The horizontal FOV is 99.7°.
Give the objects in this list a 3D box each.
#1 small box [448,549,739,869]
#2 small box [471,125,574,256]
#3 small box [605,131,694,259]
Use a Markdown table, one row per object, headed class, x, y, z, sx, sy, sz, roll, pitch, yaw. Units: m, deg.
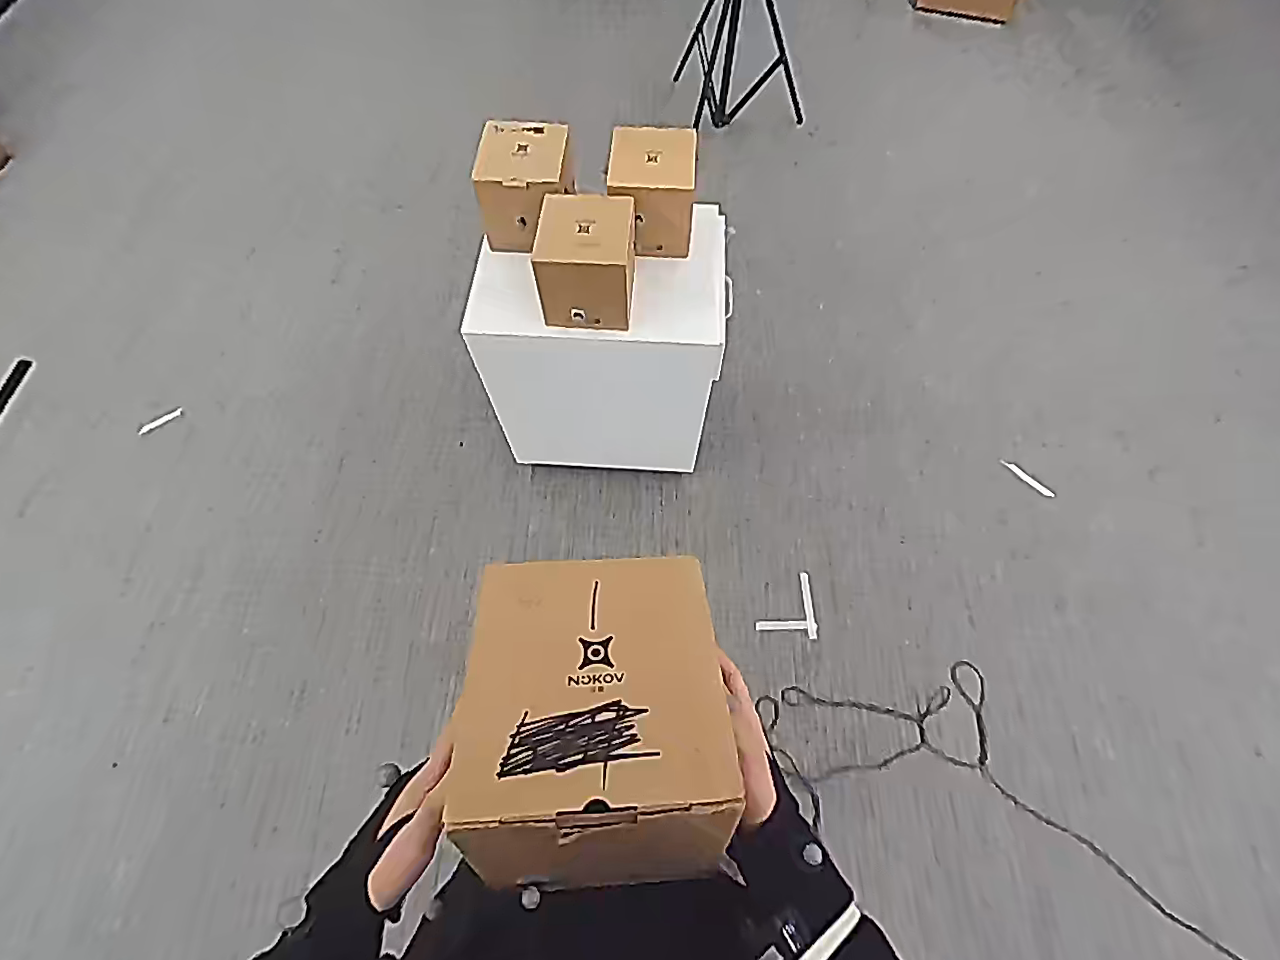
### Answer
| class | x | y | z | sx | sy | sz | roll | pitch | yaw |
| --- | --- | --- | --- | --- | --- | --- | --- | --- | --- |
| small box | -0.029 | 0.175 | 0.411 | 0.168 | 0.176 | 0.179 | -2 | 42 | -3 |
| small box | -0.229 | -0.586 | 1.108 | 0.168 | 0.176 | 0.179 | 3 | 66 | 0 |
| small box | 0.022 | -0.577 | 1.107 | 0.168 | 0.176 | 0.179 | 3 | 65 | 1 |
